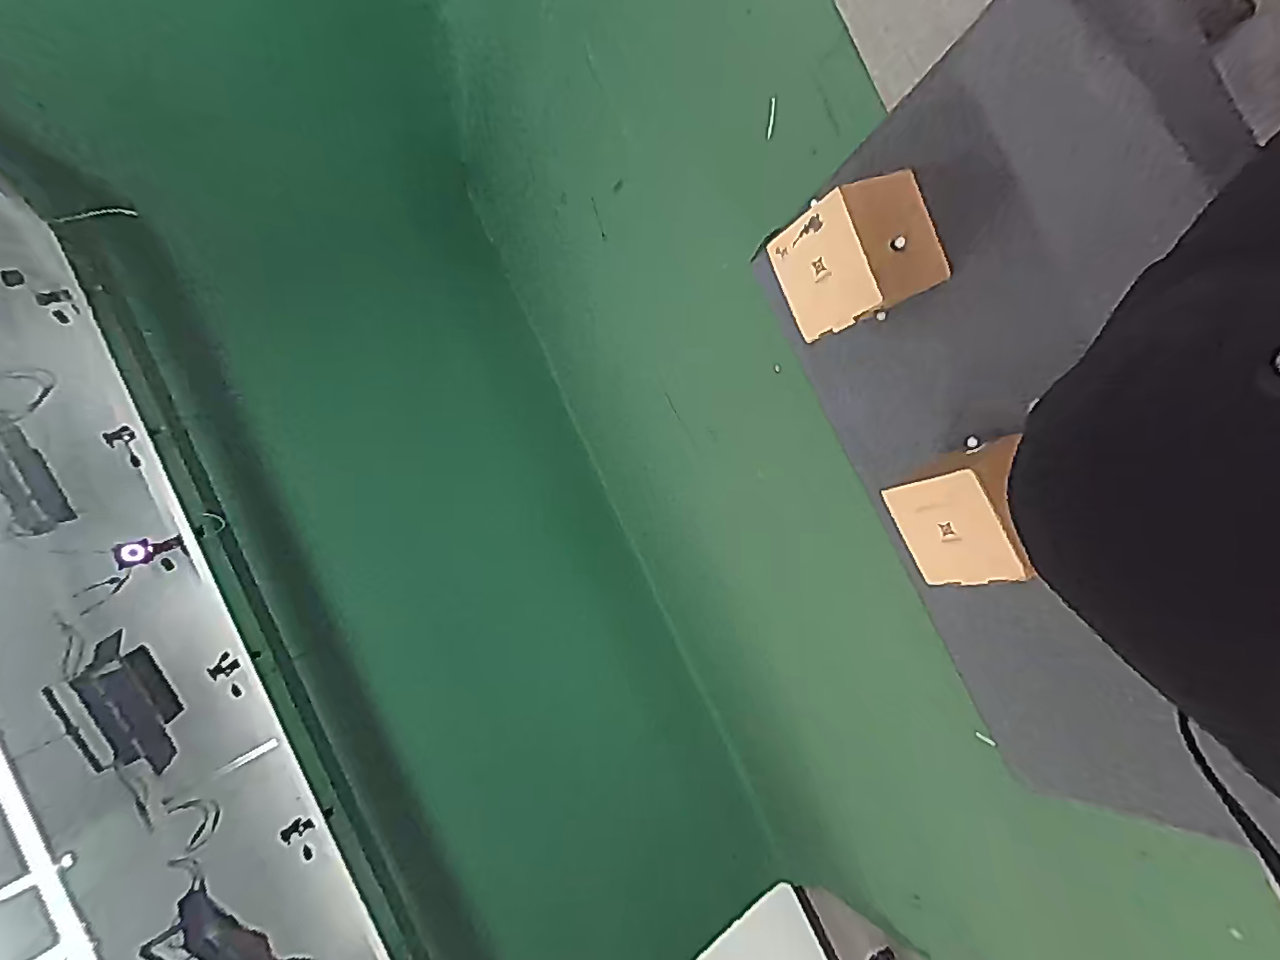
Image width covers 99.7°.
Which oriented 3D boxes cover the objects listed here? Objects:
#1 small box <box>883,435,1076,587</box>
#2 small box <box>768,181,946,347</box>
[{"bbox_3d":[0.535,0.052,0.856,0.179,0.176,0.168,65,154,3],"label":"small box"},{"bbox_3d":[0.345,-0.341,0.861,0.168,0.176,0.179,-17,98,64],"label":"small box"}]
